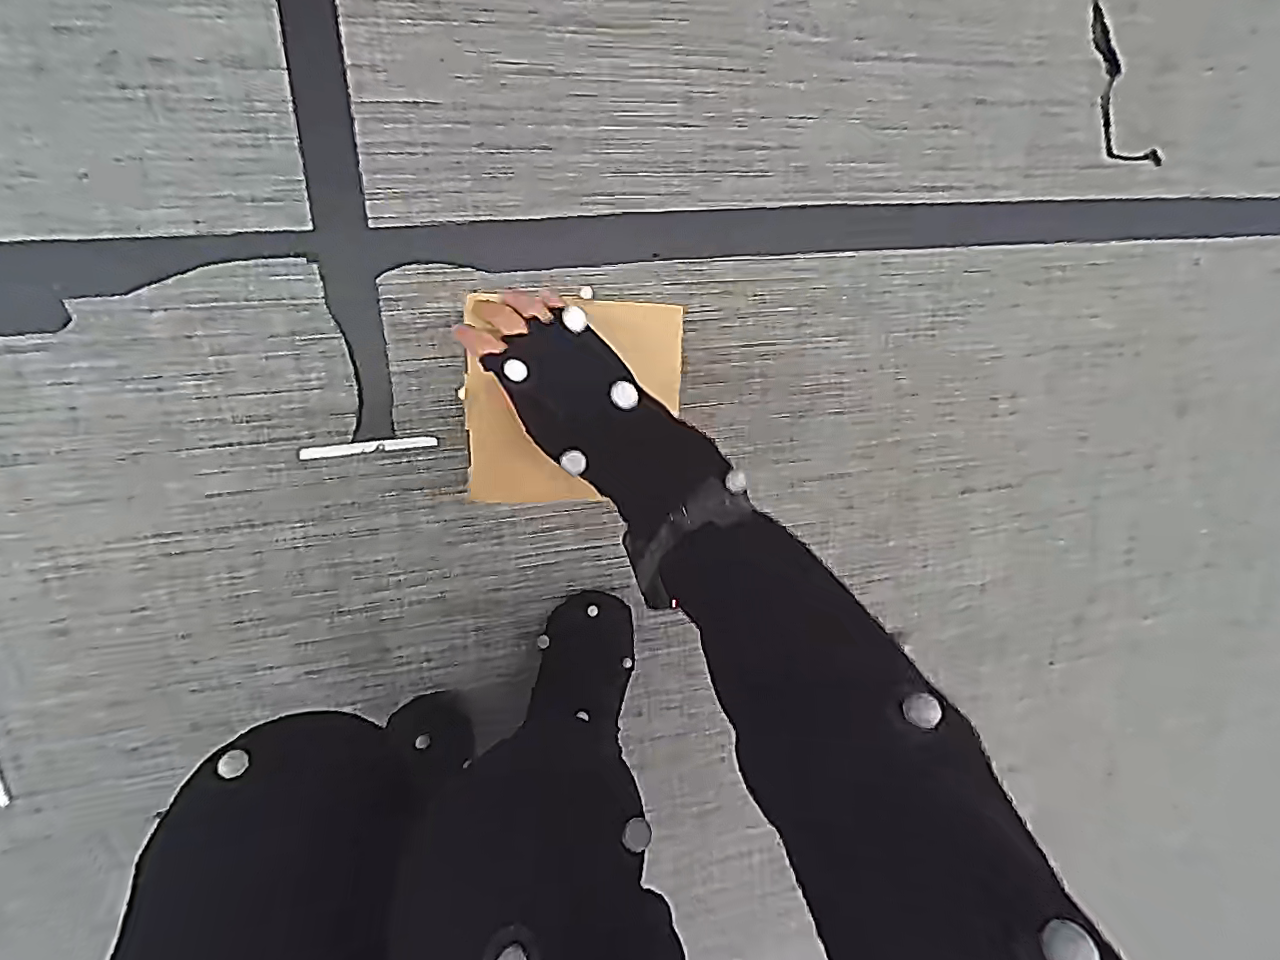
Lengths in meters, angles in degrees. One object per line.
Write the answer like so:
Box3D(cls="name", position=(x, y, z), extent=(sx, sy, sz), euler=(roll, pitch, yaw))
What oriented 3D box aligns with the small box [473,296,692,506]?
Box3D(cls="small box", position=(-0.063, -0.075, 0.514), extent=(0.179, 0.176, 0.168), euler=(0, 102, -13))
